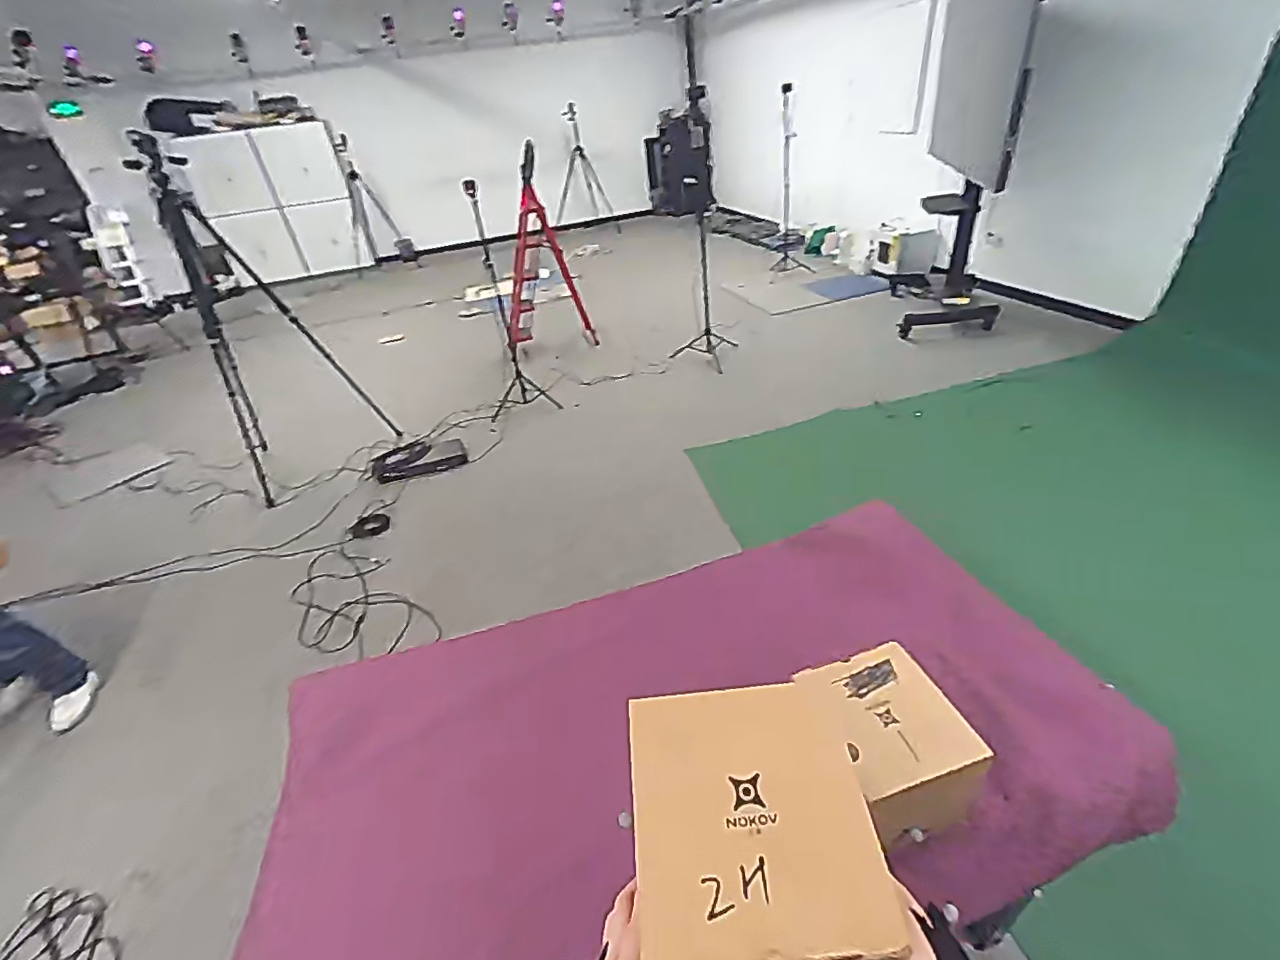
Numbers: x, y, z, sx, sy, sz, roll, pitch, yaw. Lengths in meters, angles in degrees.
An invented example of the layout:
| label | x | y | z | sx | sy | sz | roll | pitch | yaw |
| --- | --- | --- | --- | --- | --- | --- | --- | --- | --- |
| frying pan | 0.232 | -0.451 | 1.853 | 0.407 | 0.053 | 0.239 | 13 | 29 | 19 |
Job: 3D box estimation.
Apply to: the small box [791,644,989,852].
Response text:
| label | x | y | z | sx | sy | sz | roll | pitch | yaw |
| --- | --- | --- | --- | --- | --- | --- | --- | --- | --- |
| small box | 0.310 | 0.358 | 0.721 | 0.168 | 0.176 | 0.179 | -14 | 35 | -10 |

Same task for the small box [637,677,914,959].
| label | x | y | z | sx | sy | sz | roll | pitch | yaw |
| --- | --- | --- | --- | --- | --- | --- | --- | --- | --- |
| small box | 0.088 | 0.287 | 0.439 | 0.168 | 0.176 | 0.179 | -6 | 42 | 3 |
